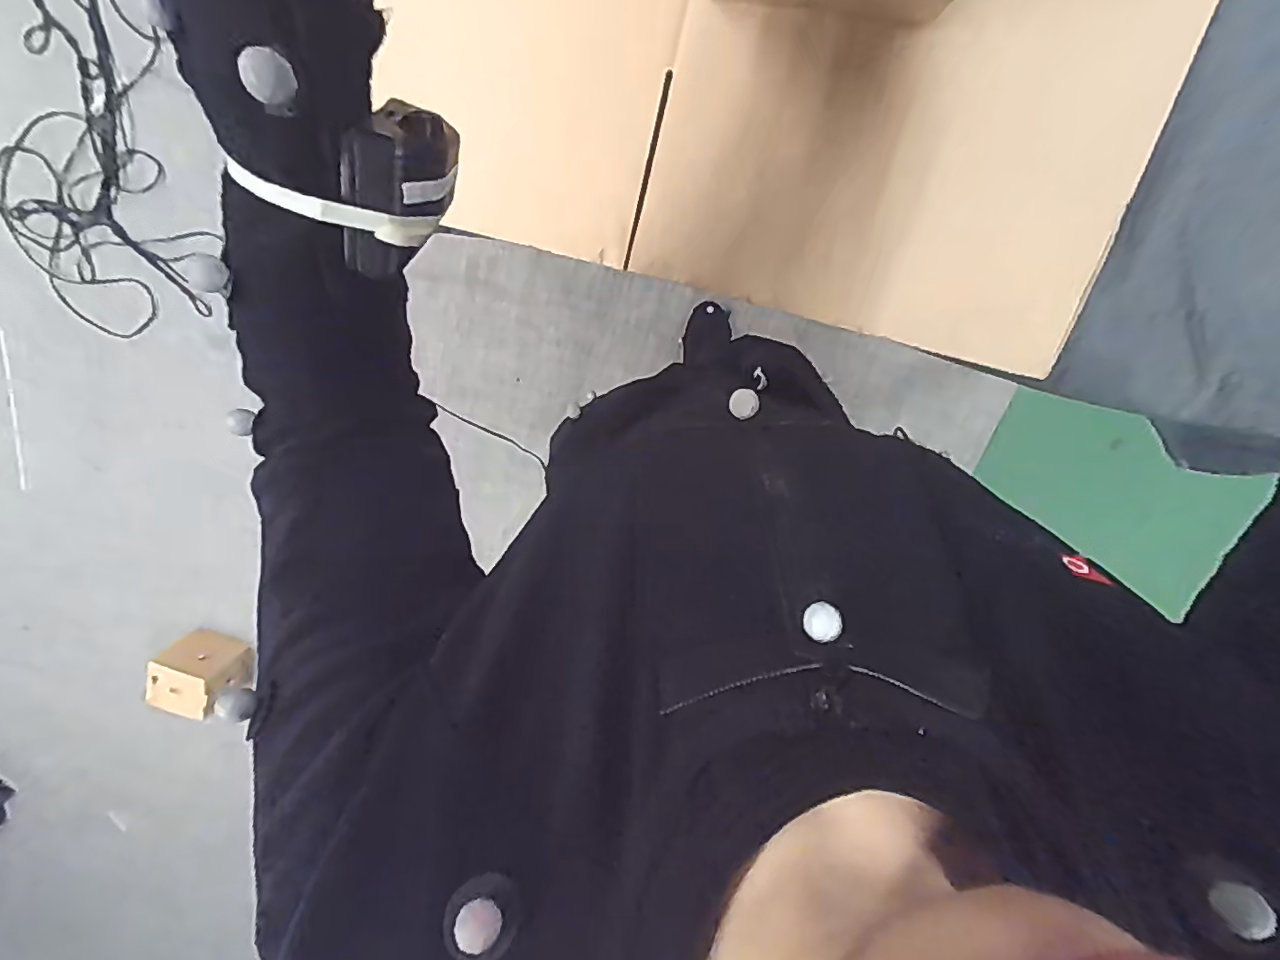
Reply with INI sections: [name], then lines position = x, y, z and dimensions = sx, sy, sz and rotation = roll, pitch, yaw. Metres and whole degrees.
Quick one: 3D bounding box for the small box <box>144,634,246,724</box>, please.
[small box]
position = -1.342, 0.596, 1.639
dimensions = 0.179, 0.176, 0.168
rotation = 19, 109, -3
